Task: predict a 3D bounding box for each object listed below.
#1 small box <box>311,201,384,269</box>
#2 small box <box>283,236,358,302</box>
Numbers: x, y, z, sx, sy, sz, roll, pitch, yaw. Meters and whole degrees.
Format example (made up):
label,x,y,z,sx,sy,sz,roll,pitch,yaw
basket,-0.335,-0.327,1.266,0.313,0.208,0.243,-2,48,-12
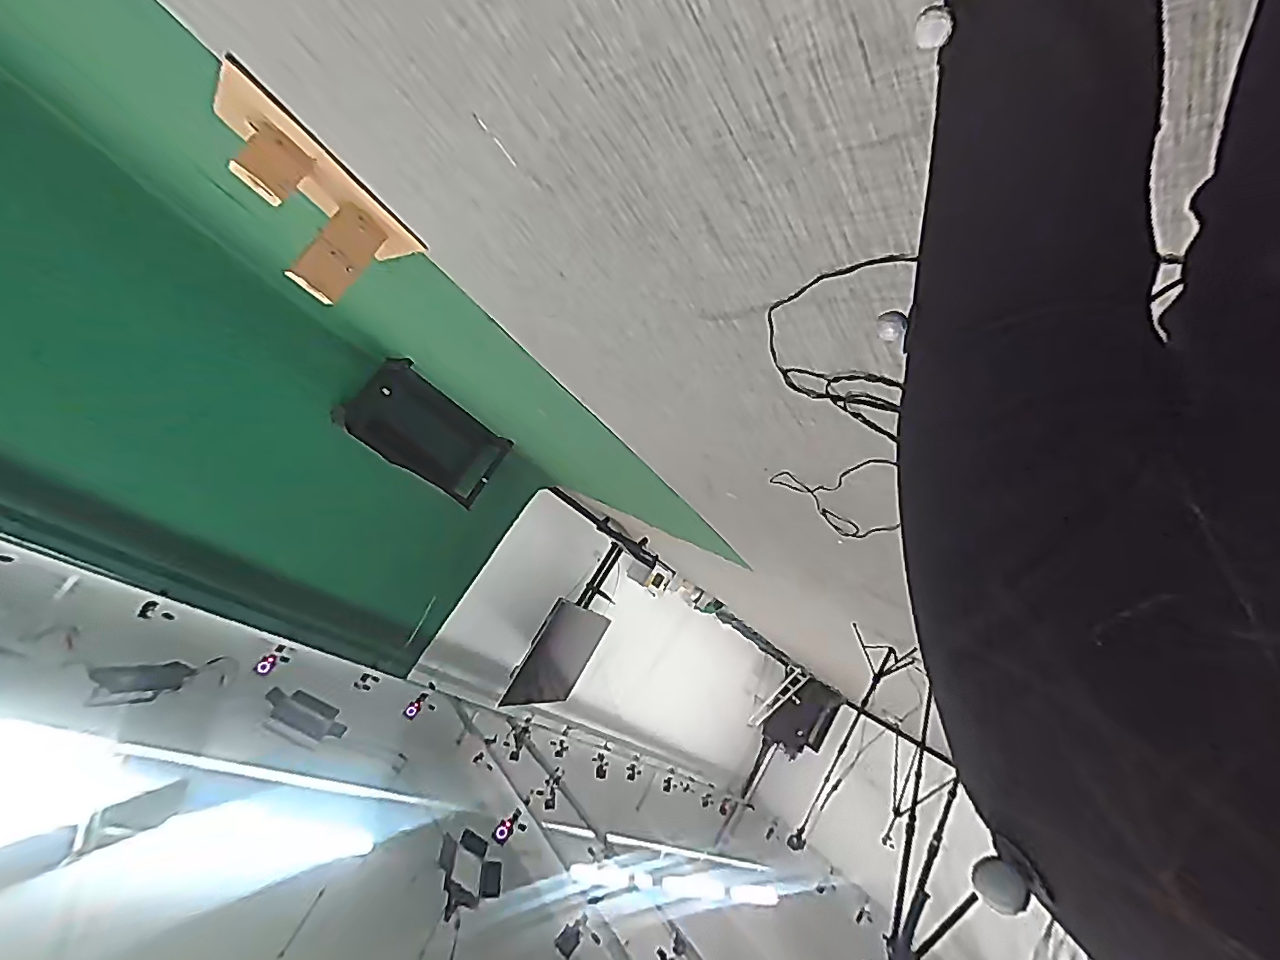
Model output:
label,x,y,z,sx,sy,sz,roll,pitch,yaw
small box,-1.105,-0.923,2.048,0.179,0.176,0.168,19,164,48
small box,-1.190,-0.786,2.019,0.179,0.176,0.168,22,165,47
